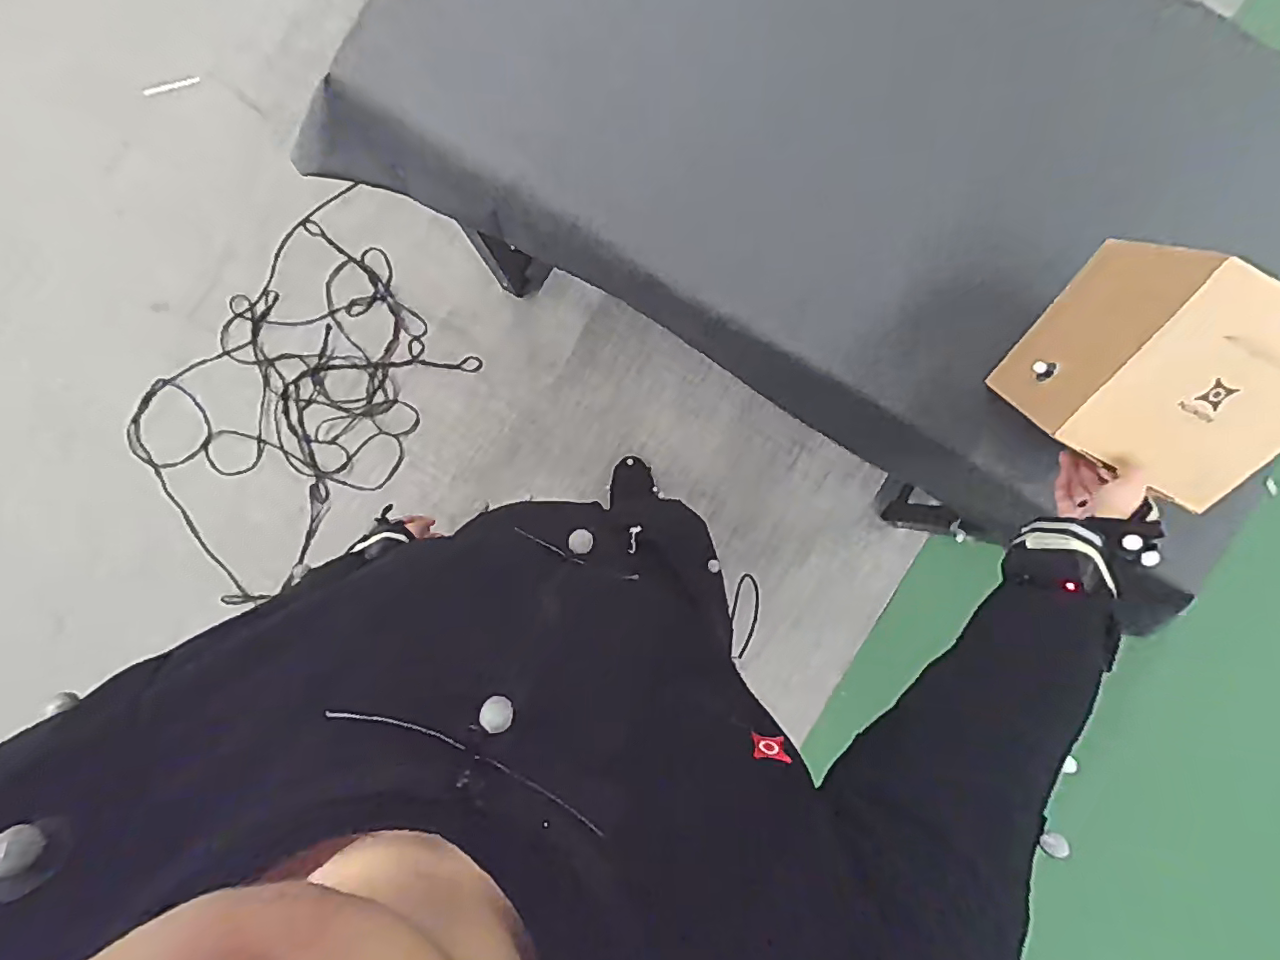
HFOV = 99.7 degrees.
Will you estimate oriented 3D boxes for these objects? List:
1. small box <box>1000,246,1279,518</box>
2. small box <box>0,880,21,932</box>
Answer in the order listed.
[{"bbox_3d":[0.492,-0.101,0.523,0.168,0.176,0.179,26,120,-4],"label":"small box"},{"bbox_3d":[-1.640,1.061,1.259,0.179,0.176,0.168,-40,90,-1],"label":"small box"}]
